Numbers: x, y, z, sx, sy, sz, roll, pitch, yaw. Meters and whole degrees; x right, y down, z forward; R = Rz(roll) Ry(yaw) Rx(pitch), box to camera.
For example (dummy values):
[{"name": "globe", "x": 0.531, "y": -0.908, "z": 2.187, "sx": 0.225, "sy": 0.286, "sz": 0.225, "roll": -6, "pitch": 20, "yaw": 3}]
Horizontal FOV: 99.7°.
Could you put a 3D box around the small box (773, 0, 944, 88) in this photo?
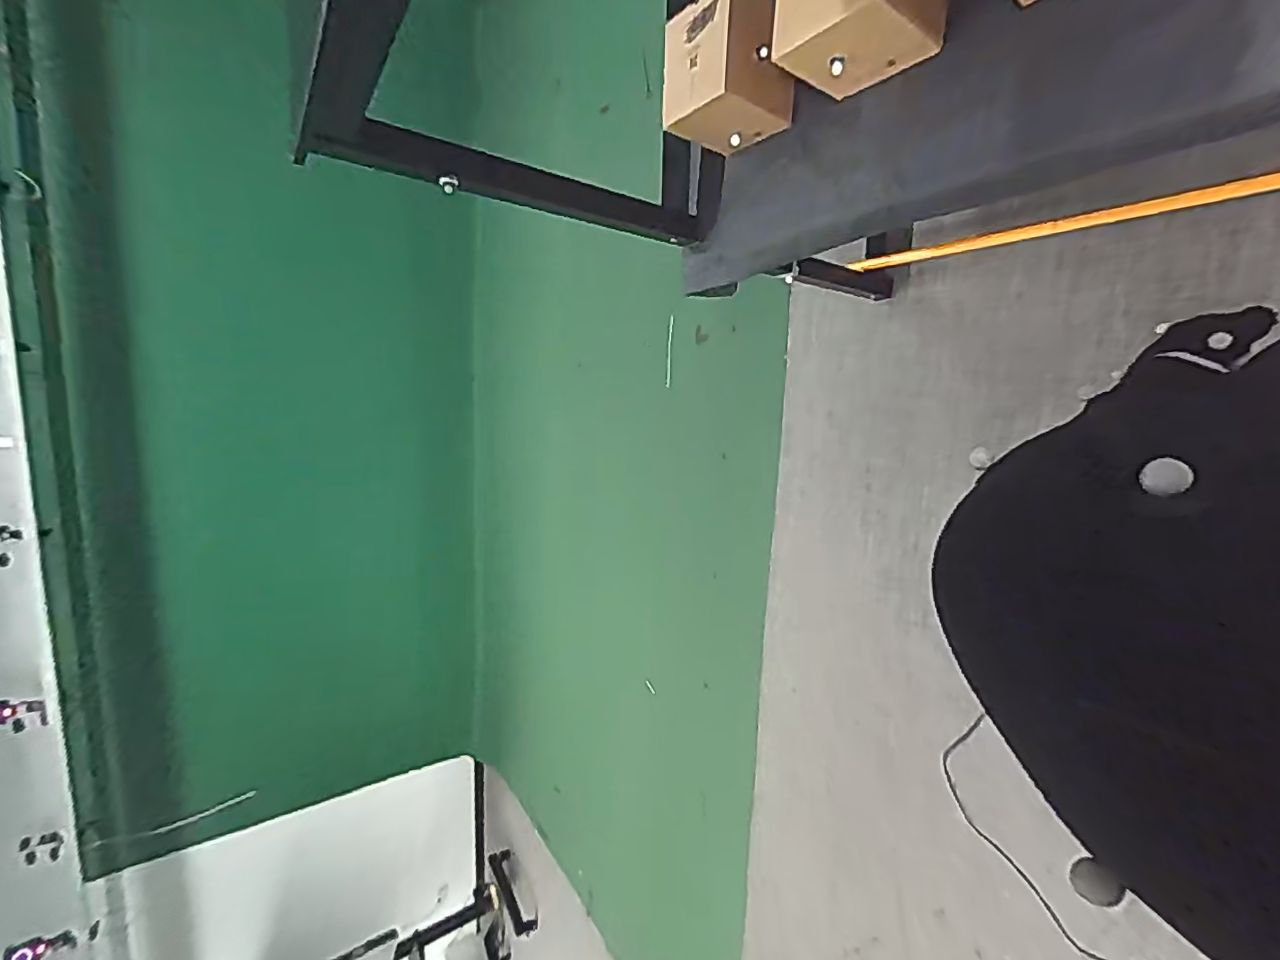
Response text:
[{"name": "small box", "x": 0.310, "y": -0.690, "z": 0.758, "sx": 0.168, "sy": 0.176, "sz": 0.179, "roll": 13, "pitch": 104, "yaw": 53}]

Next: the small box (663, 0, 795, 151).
[{"name": "small box", "x": 0.160, "y": -0.723, "z": 0.959, "sx": 0.168, "sy": 0.176, "sz": 0.179, "roll": 14, "pitch": 105, "yaw": 53}]
